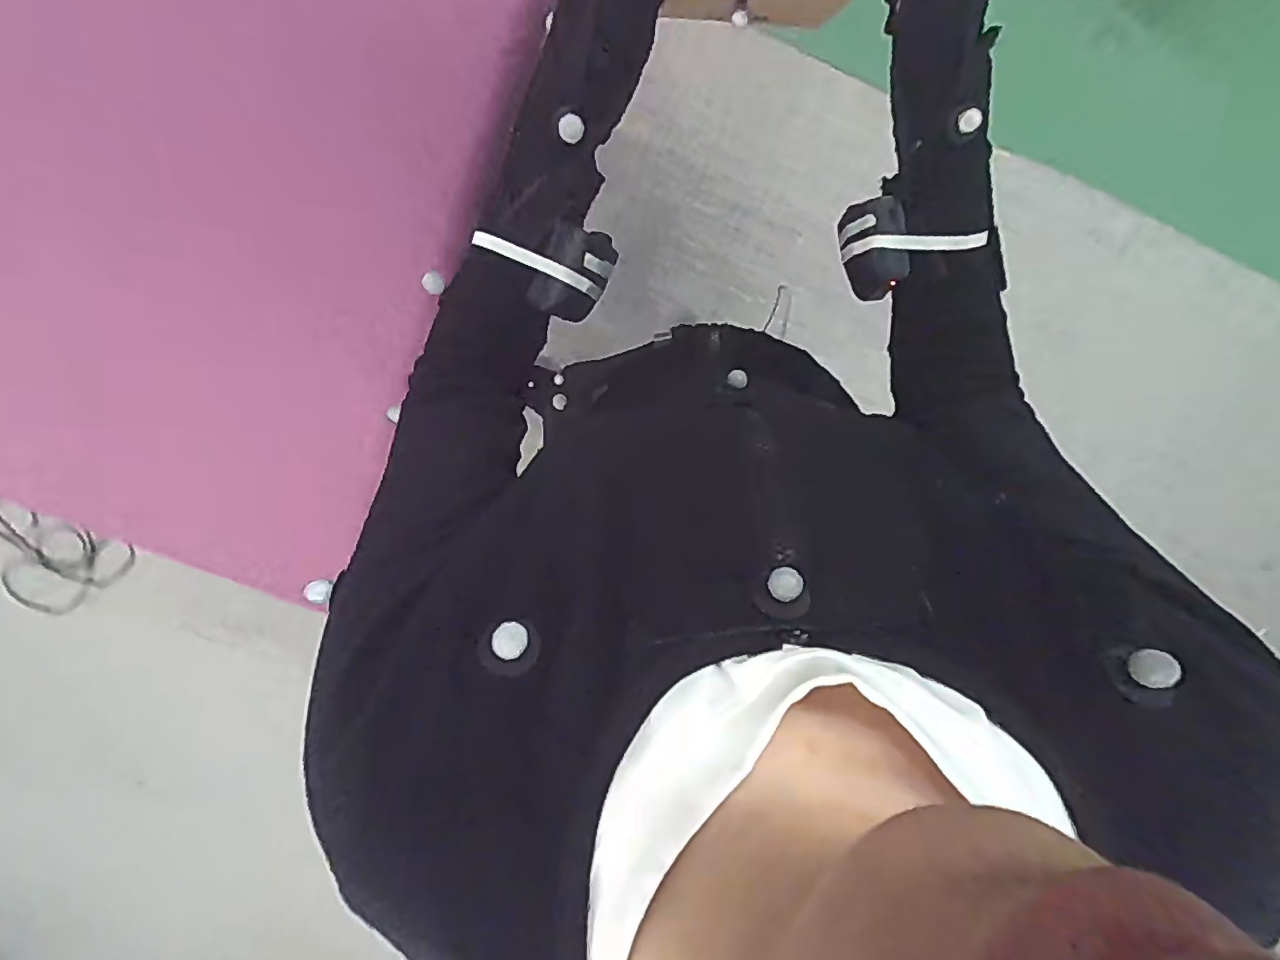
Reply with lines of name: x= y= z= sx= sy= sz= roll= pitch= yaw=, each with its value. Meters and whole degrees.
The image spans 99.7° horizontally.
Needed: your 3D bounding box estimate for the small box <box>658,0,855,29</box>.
small box: x=0.094 y=-0.449 z=0.372 sx=0.168 sy=0.176 sz=0.179 roll=3 pitch=118 yaw=-2
